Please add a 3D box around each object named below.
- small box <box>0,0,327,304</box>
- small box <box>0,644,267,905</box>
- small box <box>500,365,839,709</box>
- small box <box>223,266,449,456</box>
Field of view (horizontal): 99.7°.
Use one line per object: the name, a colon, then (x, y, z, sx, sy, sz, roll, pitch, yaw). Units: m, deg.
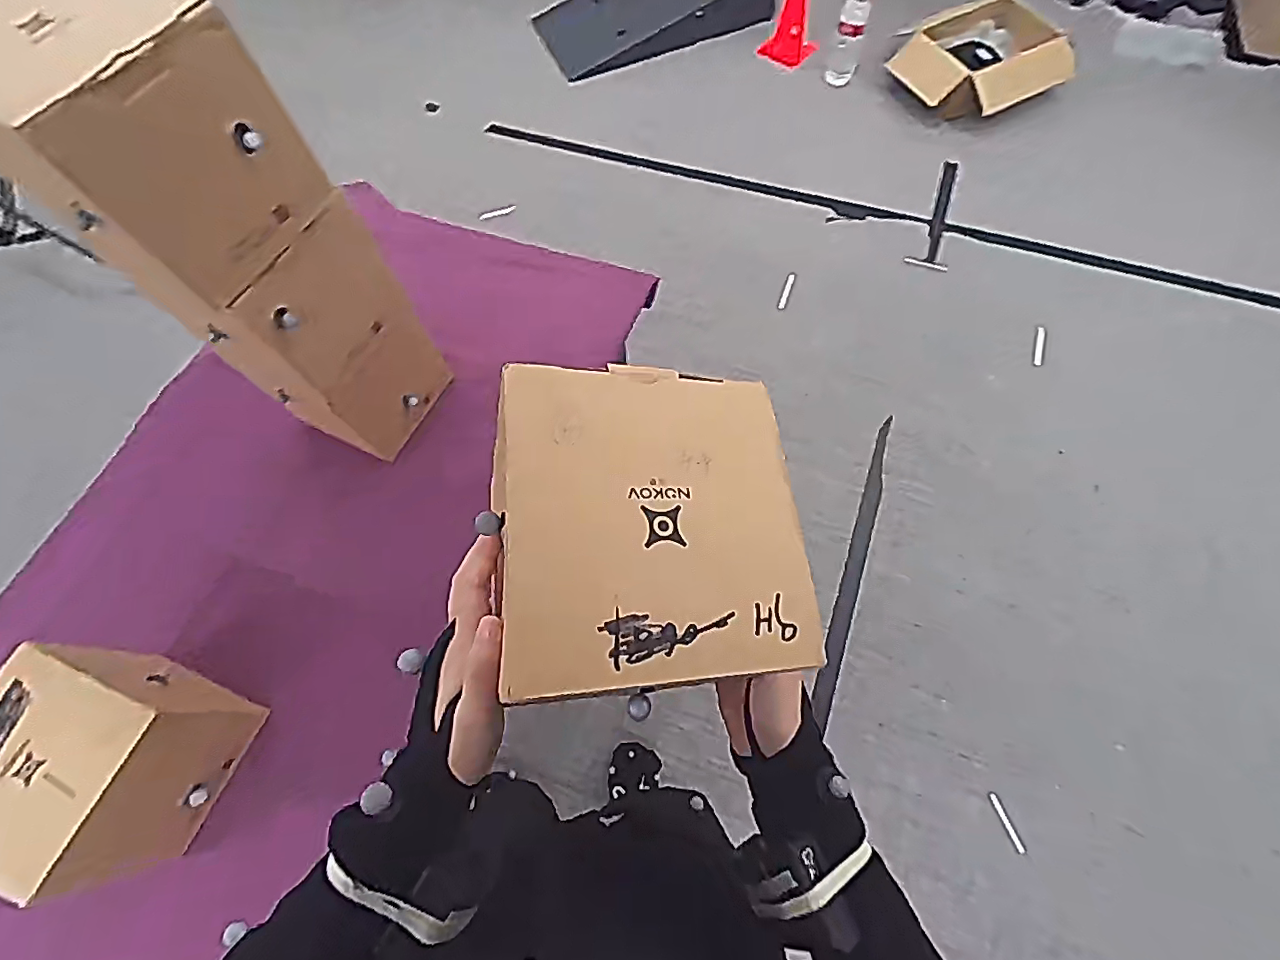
small box: (-0.412, -0.277, 0.449, 0.179, 0.176, 0.168, 25, 69, 13)
small box: (-0.557, 0.292, 0.569, 0.179, 0.176, 0.168, 20, 69, 9)
small box: (-0.005, 0.048, 0.358, 0.168, 0.176, 0.179, 0, 67, -16)
small box: (-0.404, -0.155, 0.752, 0.179, 0.176, 0.168, 24, 71, 11)
